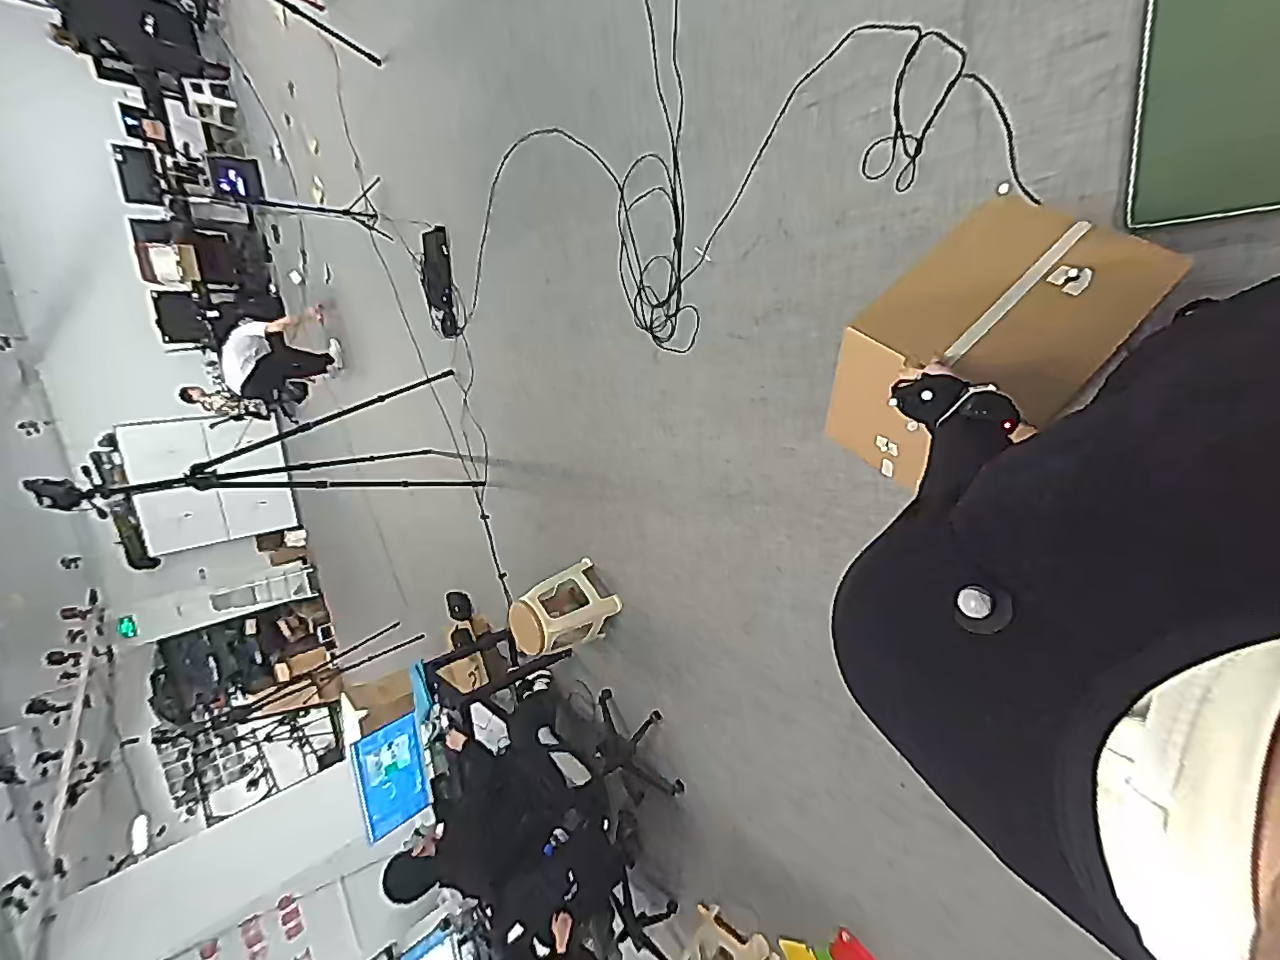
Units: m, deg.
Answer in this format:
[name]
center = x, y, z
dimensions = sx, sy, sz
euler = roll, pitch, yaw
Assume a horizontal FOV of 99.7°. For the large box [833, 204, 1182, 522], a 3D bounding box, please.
[large box]
center = 0.611, -0.205, 0.974
dimensions = 0.320, 0.408, 0.320
euler = 42, 165, 28
